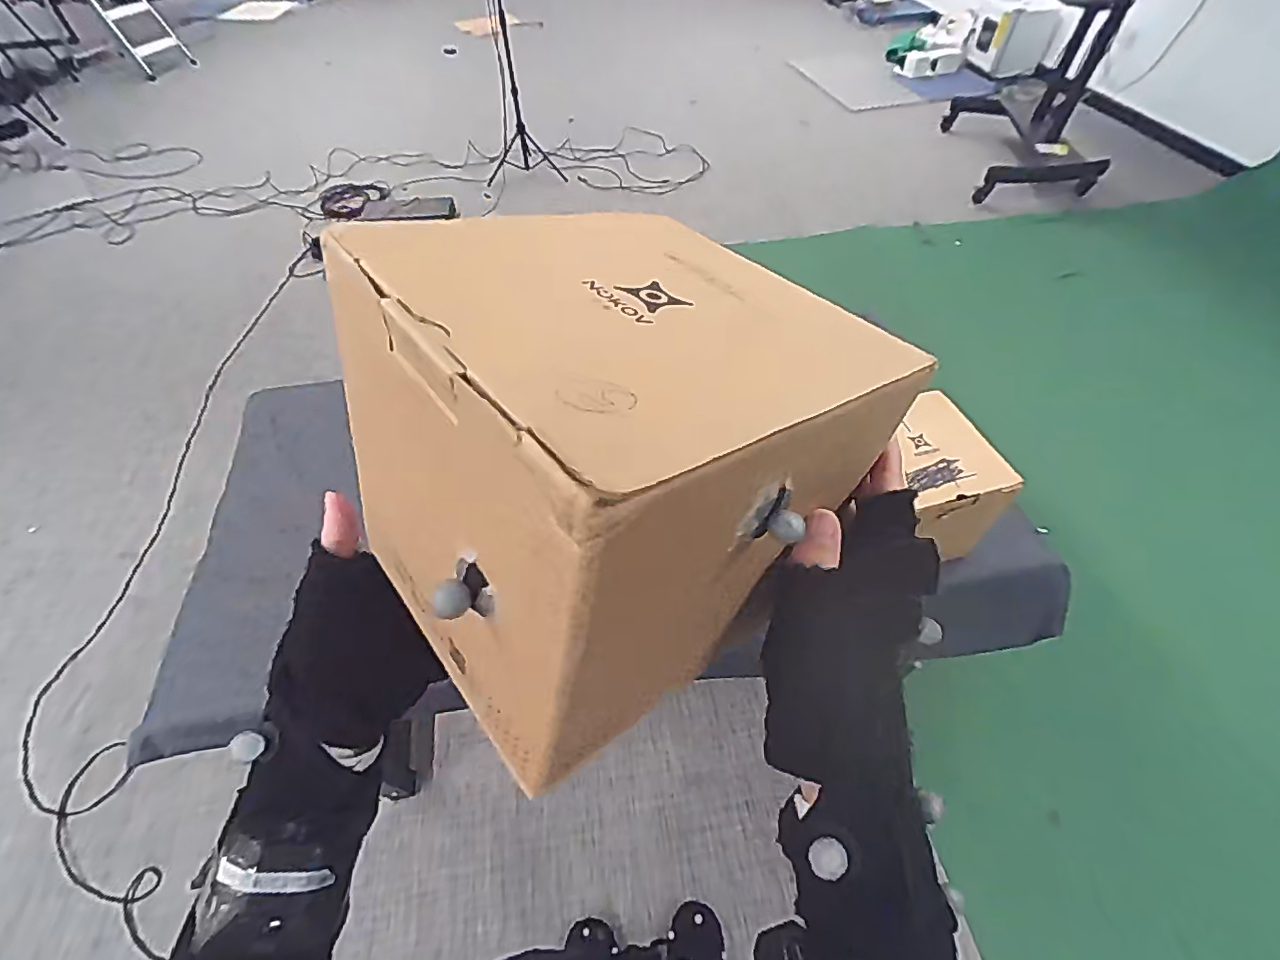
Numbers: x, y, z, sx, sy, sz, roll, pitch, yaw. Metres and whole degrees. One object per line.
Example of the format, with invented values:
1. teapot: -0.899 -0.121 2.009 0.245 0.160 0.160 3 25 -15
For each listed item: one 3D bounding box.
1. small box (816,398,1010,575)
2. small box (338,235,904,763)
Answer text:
1. small box: 0.355 0.016 0.758 0.168 0.176 0.179 -12 51 -8
2. small box: -0.017 -0.004 0.266 0.179 0.176 0.168 -22 52 -39
